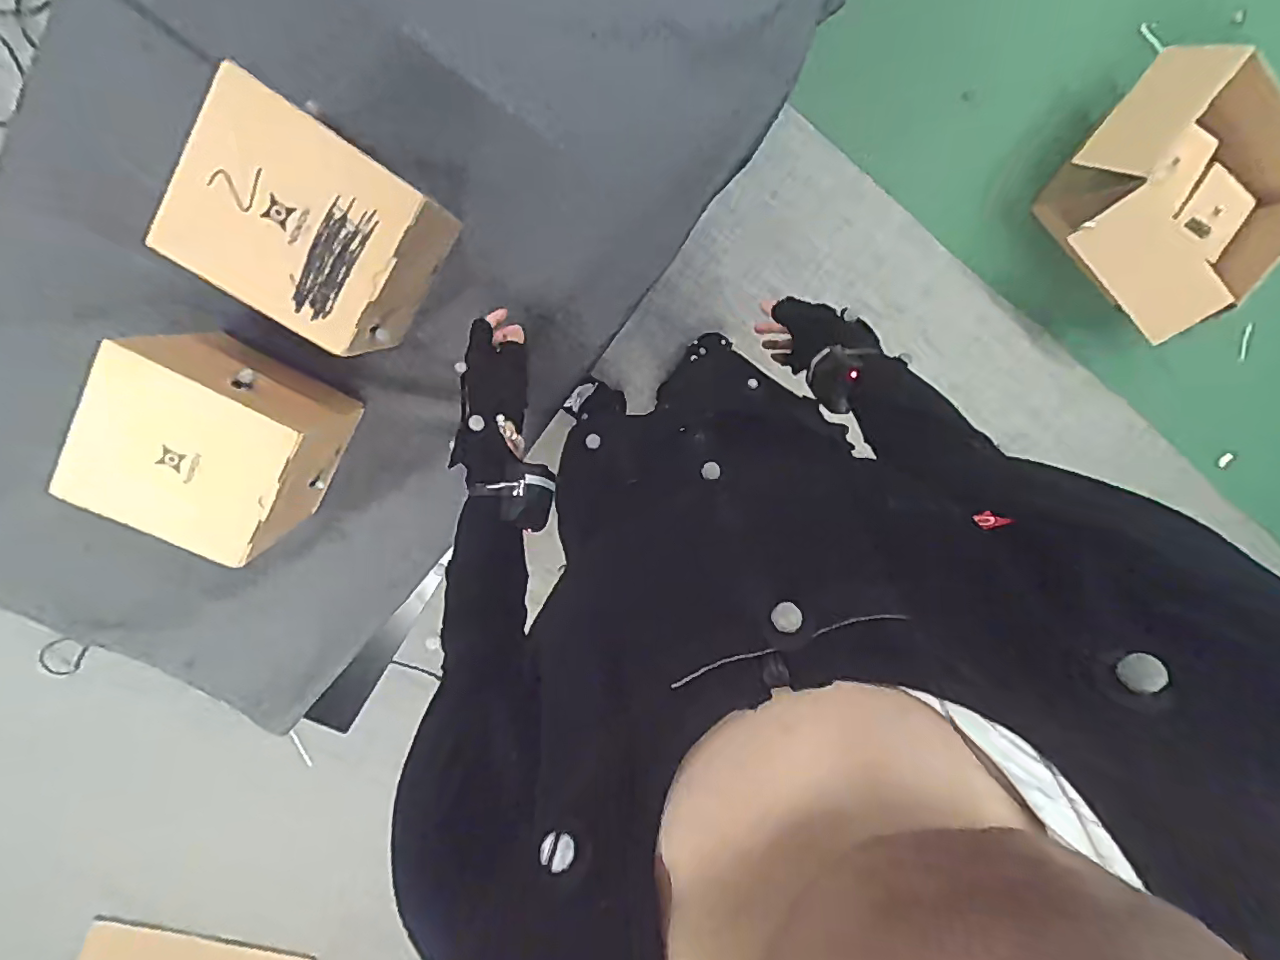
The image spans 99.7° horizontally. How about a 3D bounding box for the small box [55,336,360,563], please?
[{"bbox_3d":[-0.452,-0.042,0.596,0.179,0.176,0.168,29,101,-15],"label":"small box"}]
